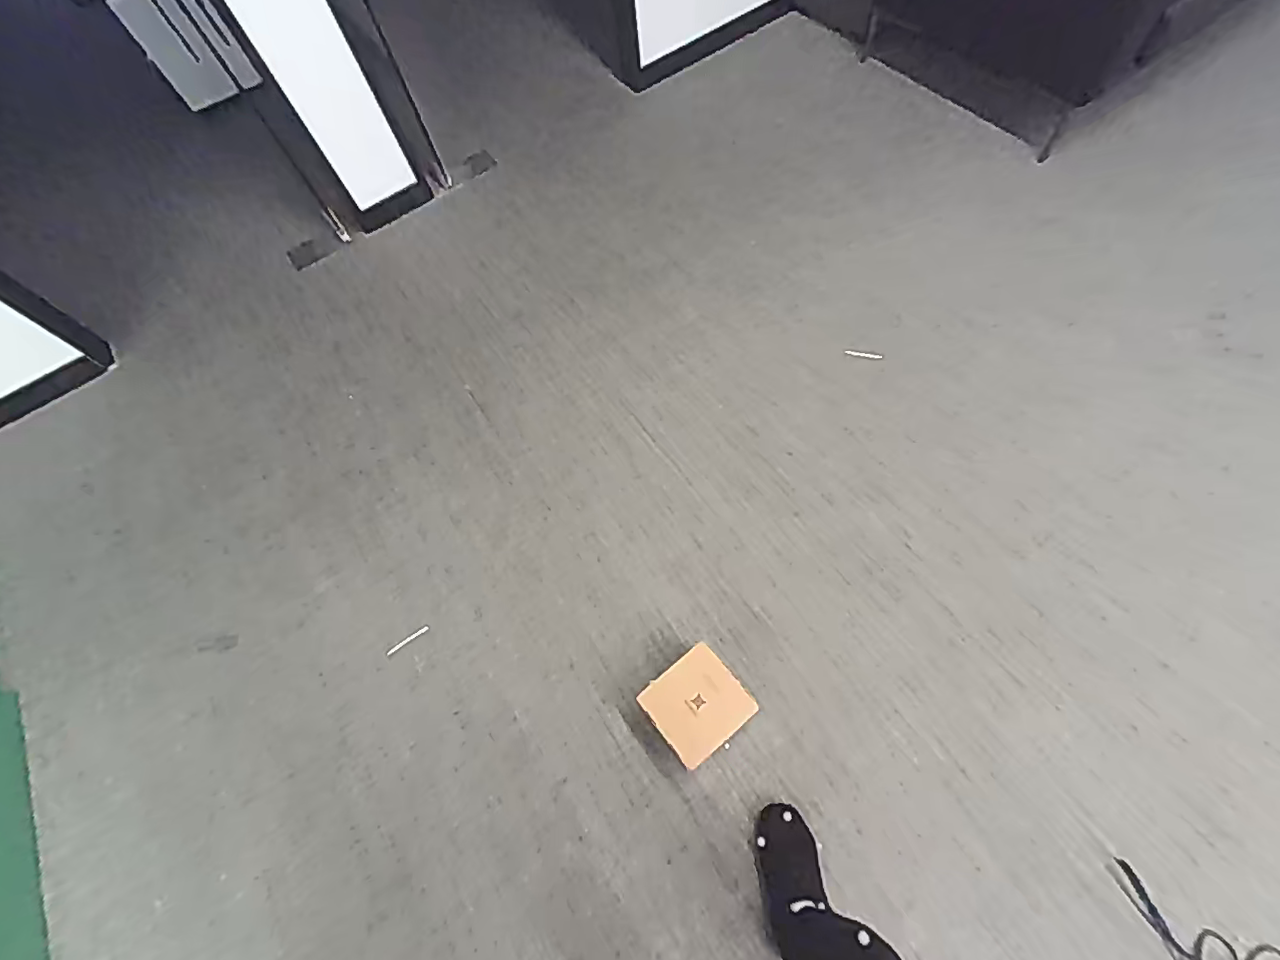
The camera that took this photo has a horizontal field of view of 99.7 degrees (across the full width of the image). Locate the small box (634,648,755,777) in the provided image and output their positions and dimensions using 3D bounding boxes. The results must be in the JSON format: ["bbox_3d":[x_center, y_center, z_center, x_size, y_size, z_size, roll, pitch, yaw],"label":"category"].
[{"bbox_3d":[0.112,0.474,1.102,0.179,0.176,0.168,-36,66,-12],"label":"small box"}]
